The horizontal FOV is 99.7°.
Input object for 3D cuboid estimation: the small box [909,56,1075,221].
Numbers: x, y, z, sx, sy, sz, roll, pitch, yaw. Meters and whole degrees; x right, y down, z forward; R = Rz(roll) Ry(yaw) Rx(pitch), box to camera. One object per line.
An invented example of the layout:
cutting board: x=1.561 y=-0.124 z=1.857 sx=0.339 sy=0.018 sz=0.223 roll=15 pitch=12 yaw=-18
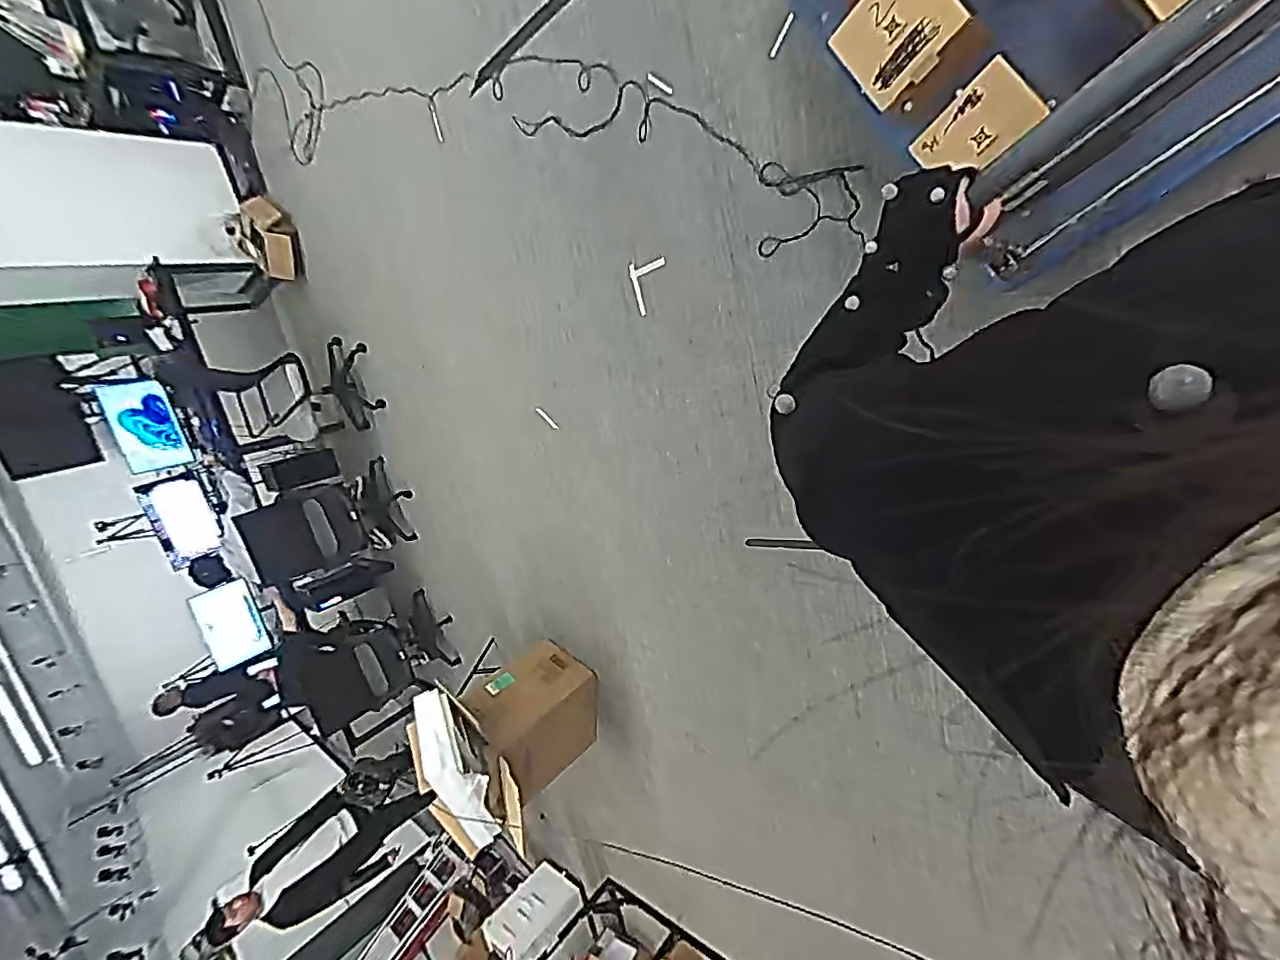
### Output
small box: x=0.614 y=-0.580 z=0.938 sx=0.179 sy=0.176 sz=0.168 roll=56 pitch=135 yaw=8

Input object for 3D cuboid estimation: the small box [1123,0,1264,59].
small box: x=0.776 y=-0.714 z=0.726 sx=0.168 sy=0.176 sz=0.179 roll=-37 pitch=82 yaw=45
